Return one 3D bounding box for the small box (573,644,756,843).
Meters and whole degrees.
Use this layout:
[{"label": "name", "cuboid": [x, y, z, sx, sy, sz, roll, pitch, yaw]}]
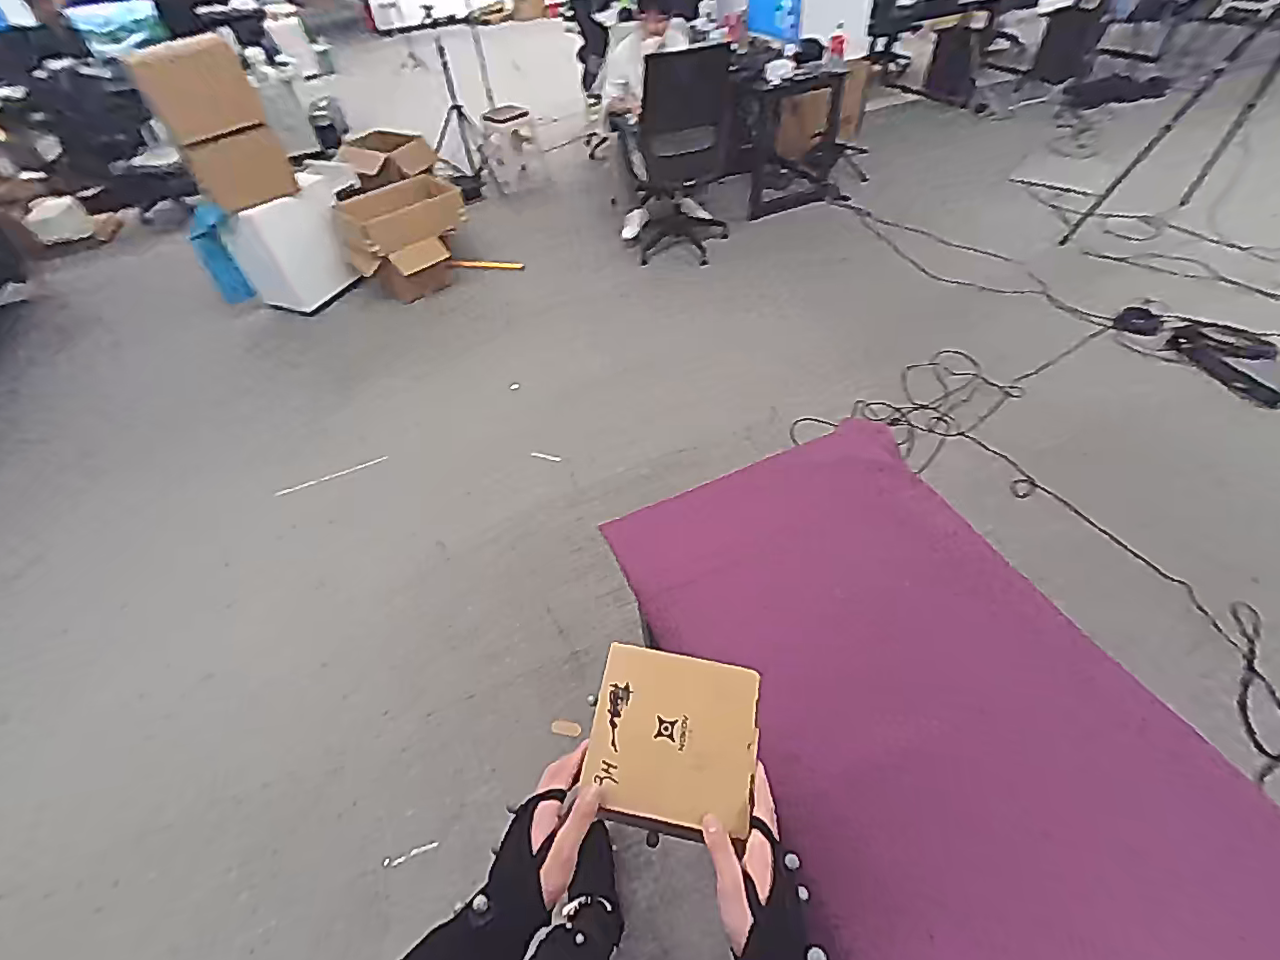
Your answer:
[{"label": "small box", "cuboid": [0.029, 0.318, 0.643, 0.179, 0.176, 0.168, 10, 54, 5]}]
